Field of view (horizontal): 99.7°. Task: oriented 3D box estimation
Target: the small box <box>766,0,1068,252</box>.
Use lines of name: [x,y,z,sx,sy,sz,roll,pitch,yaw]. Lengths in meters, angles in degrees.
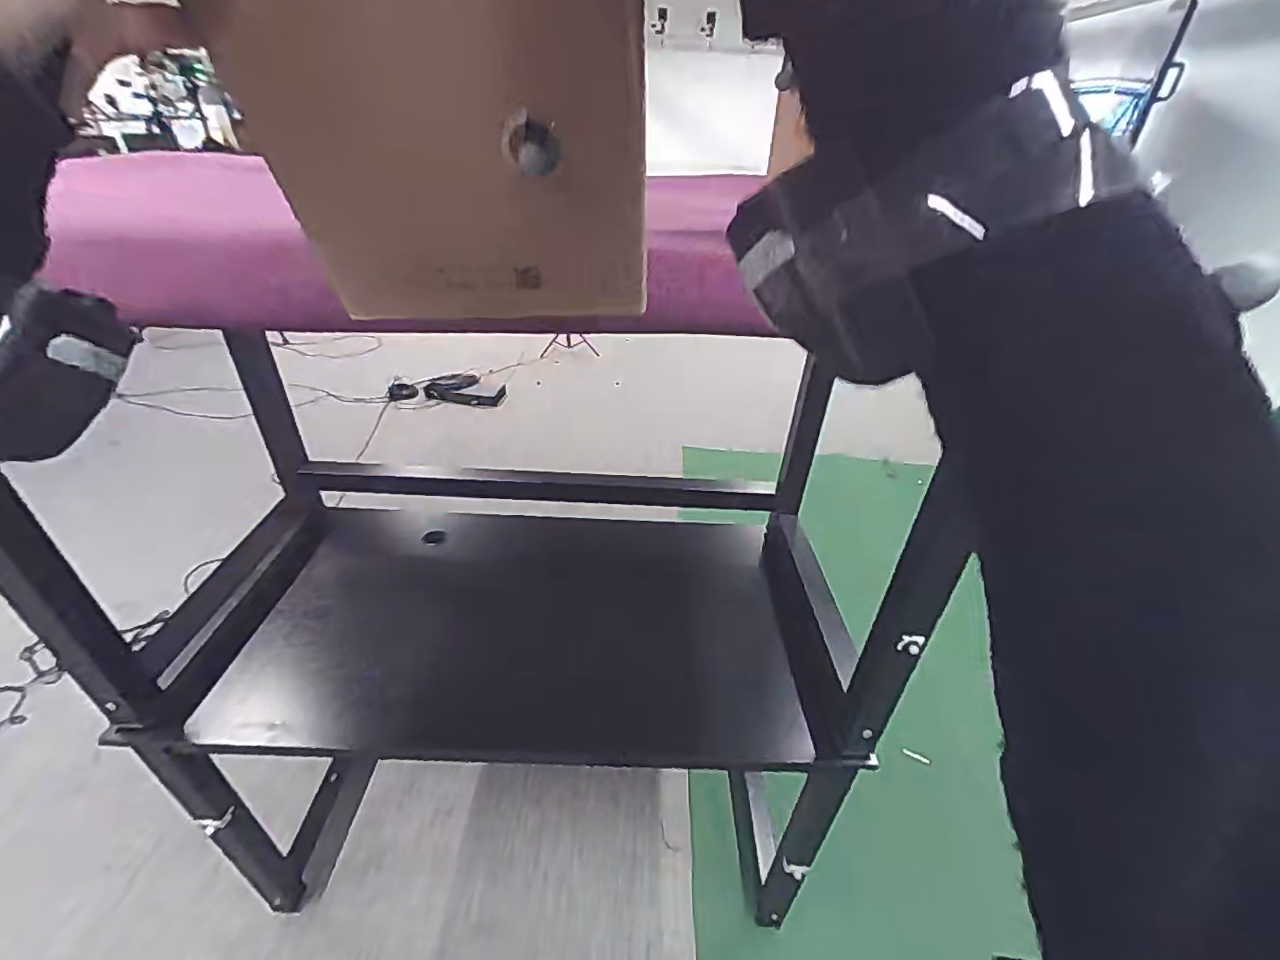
small box: [0.217,-0.310,0.485,0.168,0.176,0.179,3,33,1]
